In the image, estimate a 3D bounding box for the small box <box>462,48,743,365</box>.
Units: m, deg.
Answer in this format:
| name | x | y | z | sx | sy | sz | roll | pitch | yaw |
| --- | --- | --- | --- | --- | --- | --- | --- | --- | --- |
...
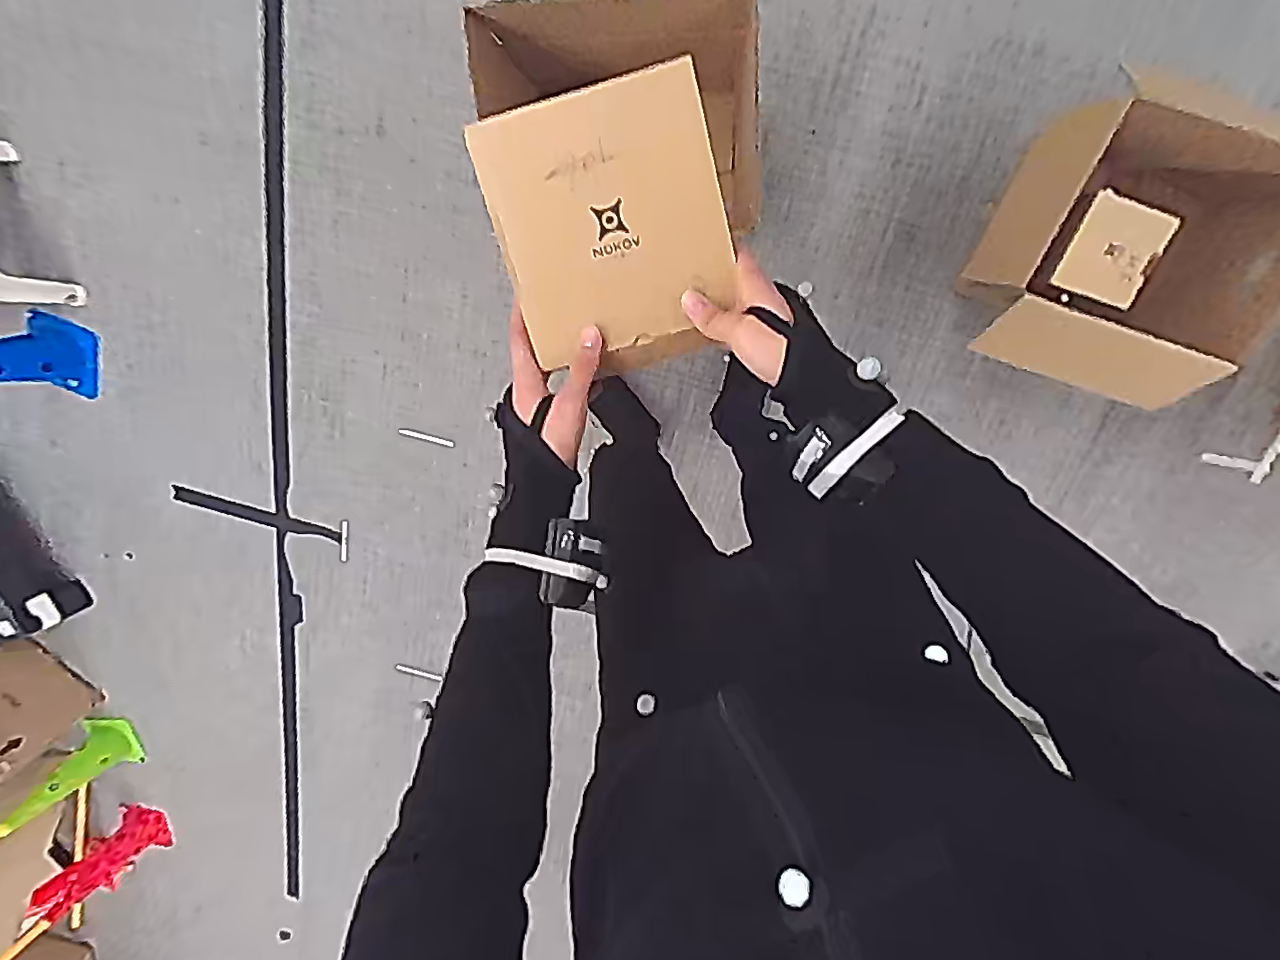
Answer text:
| name | x | y | z | sx | sy | sz | roll | pitch | yaw |
| --- | --- | --- | --- | --- | --- | --- | --- | --- | --- |
| small box | -0.024 | -0.210 | 0.463 | 0.168 | 0.176 | 0.179 | -16 | 105 | 2 |
